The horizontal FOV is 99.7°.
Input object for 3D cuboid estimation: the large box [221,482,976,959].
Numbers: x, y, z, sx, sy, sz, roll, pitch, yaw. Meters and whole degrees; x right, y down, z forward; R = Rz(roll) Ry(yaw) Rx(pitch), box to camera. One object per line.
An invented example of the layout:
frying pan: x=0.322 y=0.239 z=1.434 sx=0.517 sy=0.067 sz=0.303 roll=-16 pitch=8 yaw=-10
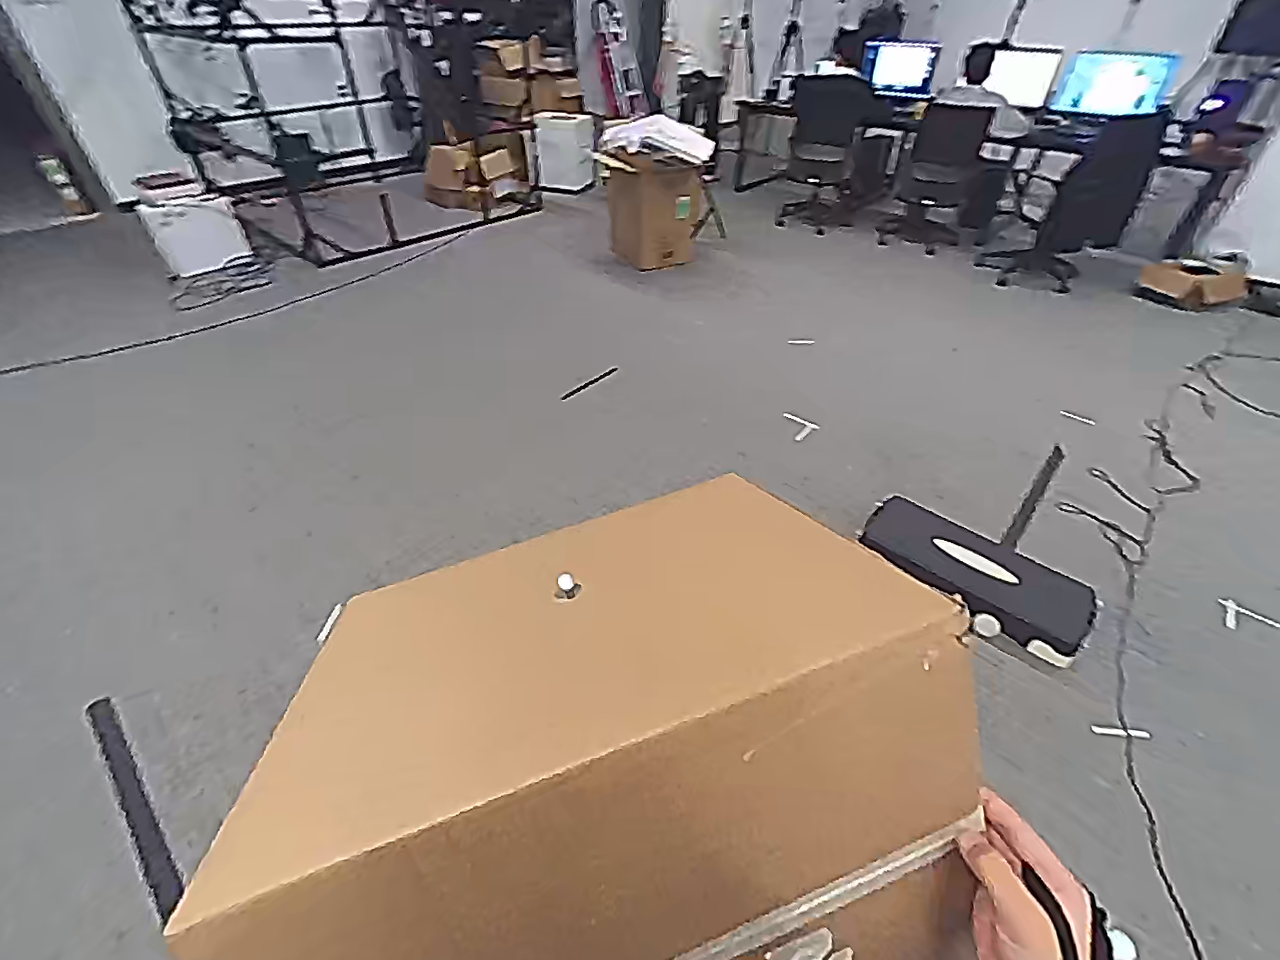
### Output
large box: x=-0.010 y=0.234 z=0.463 sx=0.408 sy=0.320 sz=0.320 roll=-18 pitch=19 yaw=-9
